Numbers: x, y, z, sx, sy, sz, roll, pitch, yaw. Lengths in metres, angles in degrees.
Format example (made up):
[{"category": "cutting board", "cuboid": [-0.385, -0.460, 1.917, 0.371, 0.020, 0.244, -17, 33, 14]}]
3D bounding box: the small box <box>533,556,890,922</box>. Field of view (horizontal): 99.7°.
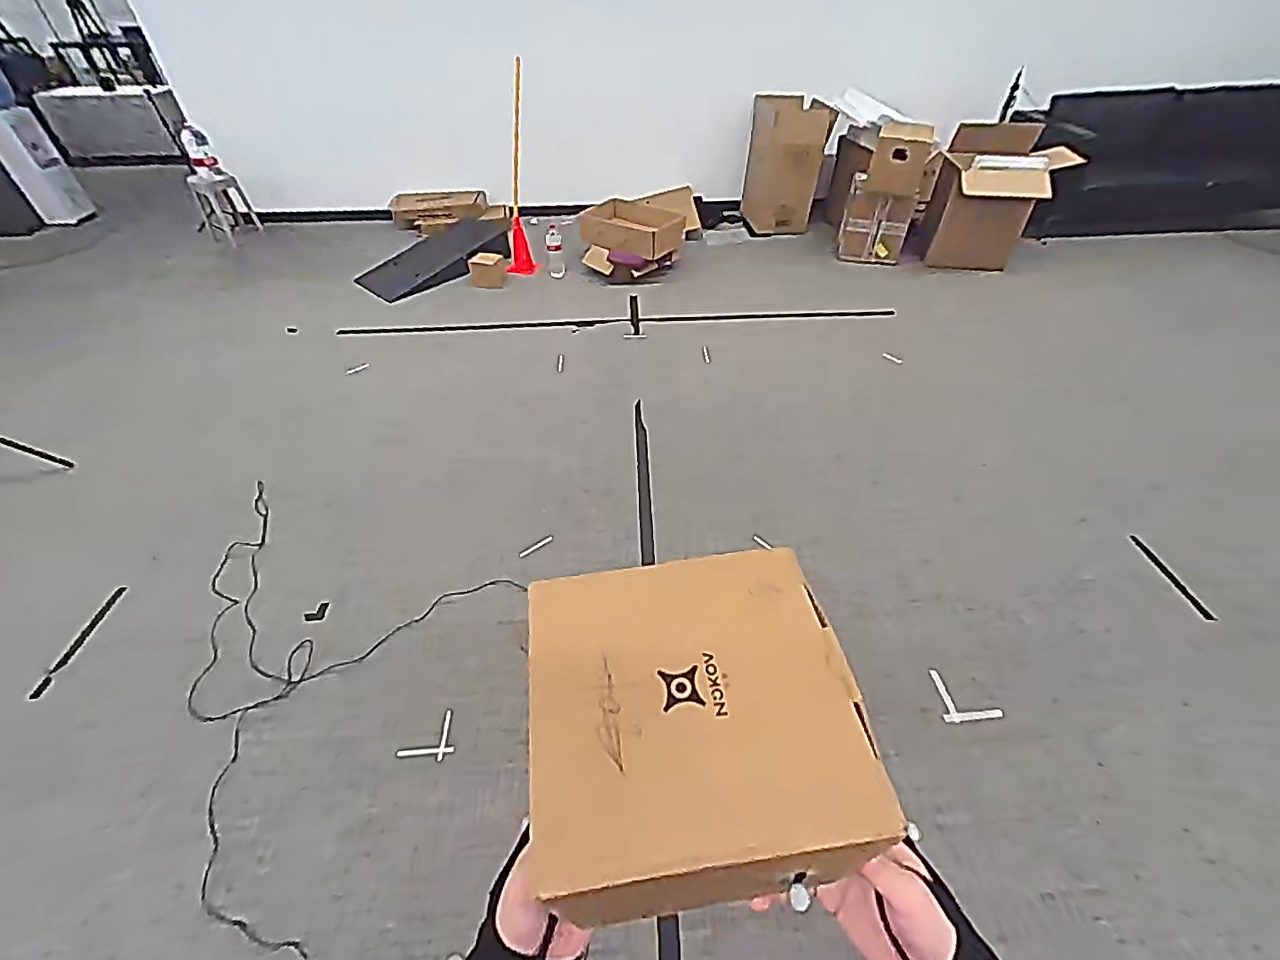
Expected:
[{"category": "small box", "cuboid": [0.029, 0.176, 0.366, 0.179, 0.176, 0.168, -8, 46, -3]}]
